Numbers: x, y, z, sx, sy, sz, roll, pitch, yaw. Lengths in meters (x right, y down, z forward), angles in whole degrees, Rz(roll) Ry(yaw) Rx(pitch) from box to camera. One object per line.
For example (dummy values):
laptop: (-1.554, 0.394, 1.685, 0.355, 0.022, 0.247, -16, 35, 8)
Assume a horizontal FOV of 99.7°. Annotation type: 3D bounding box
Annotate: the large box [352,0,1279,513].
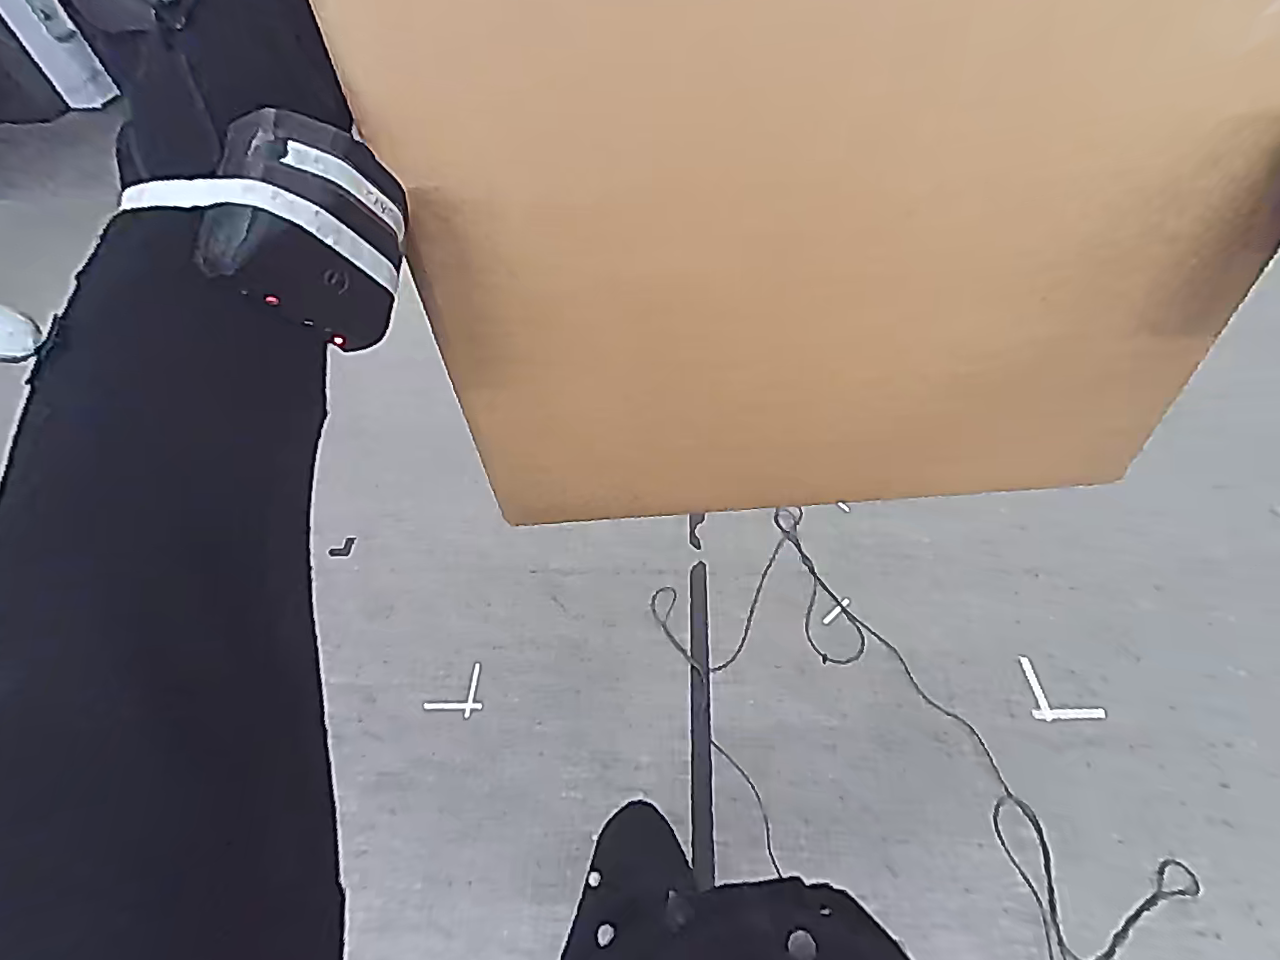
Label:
large box: (0.090, -0.201, 0.382, 0.408, 0.320, 0.320, -4, 42, 1)
